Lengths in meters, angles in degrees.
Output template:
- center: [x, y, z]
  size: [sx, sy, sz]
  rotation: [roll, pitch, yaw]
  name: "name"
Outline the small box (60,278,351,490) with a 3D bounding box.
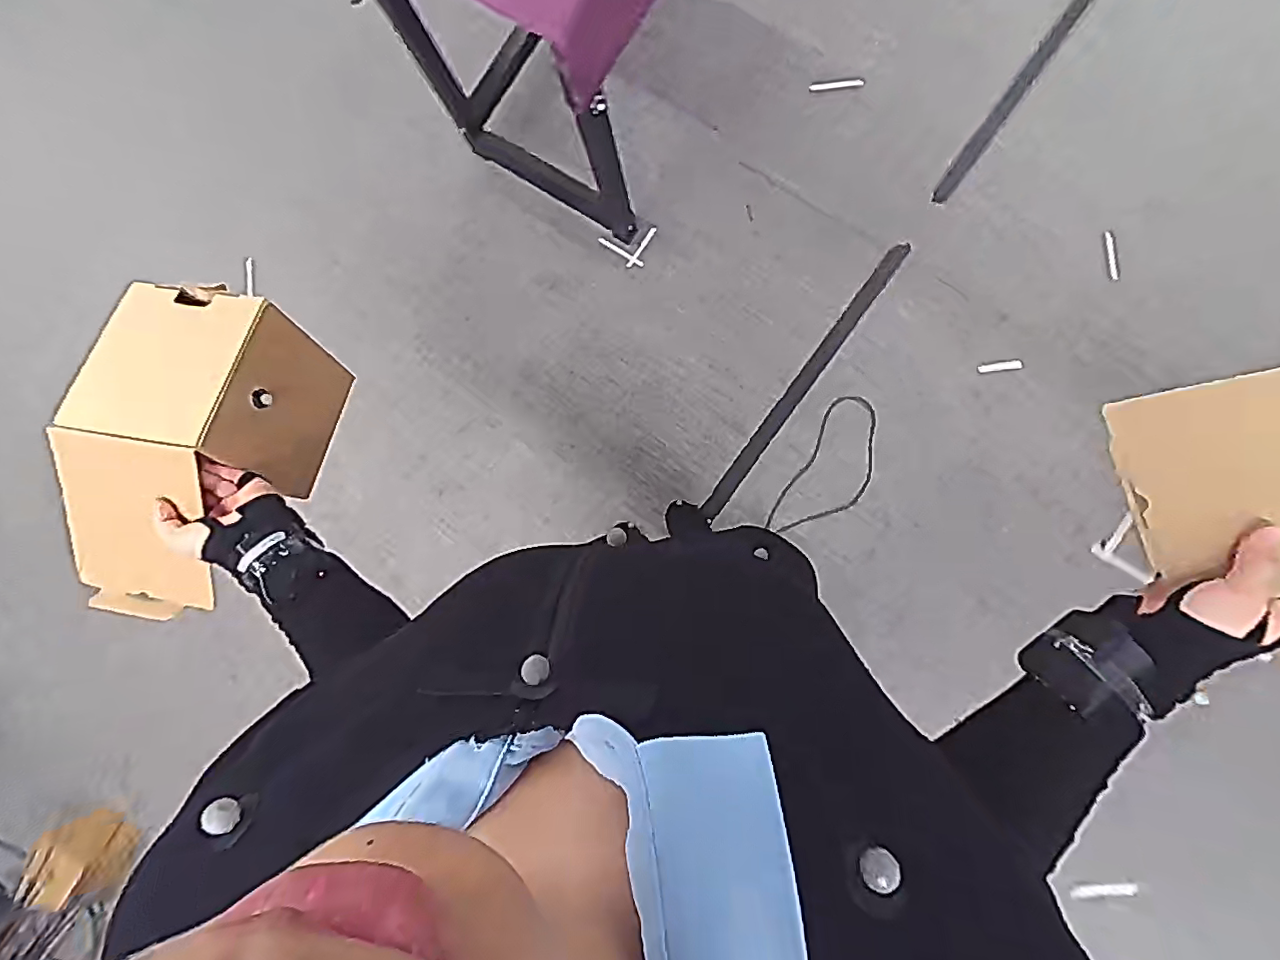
- center: [-0.474, -0.101, 0.626]
  size: [0.168, 0.176, 0.179]
  rotation: [9, 71, 7]
  name: "small box"
